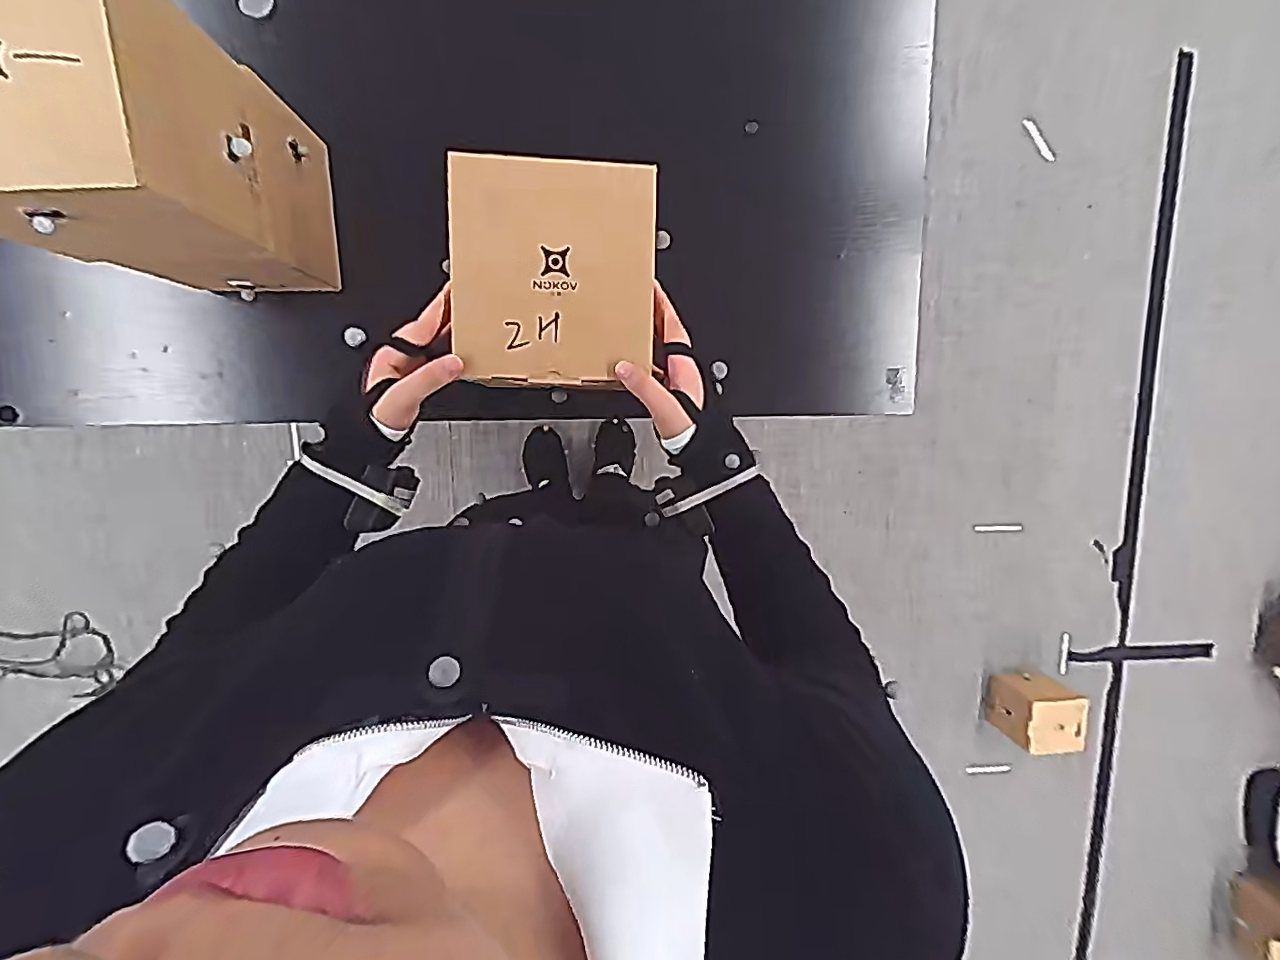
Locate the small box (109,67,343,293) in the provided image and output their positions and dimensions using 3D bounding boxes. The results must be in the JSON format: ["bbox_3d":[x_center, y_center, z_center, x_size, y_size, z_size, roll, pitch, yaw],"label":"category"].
[{"bbox_3d":[-0.455,-0.315,0.597,0.168,0.176,0.179,-3,99,-4],"label":"small box"}]

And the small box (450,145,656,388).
[{"bbox_3d":[-0.078,-0.184,0.518,0.168,0.176,0.179,0,97,-5],"label":"small box"}]

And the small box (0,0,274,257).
[{"bbox_3d":[-0.441,-0.287,0.435,0.179,0.176,0.168,-5,98,-5],"label":"small box"}]

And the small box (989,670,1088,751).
[{"bbox_3d":[1.198,0.693,1.638,0.179,0.176,0.168,-1,98,-5],"label":"small box"}]
